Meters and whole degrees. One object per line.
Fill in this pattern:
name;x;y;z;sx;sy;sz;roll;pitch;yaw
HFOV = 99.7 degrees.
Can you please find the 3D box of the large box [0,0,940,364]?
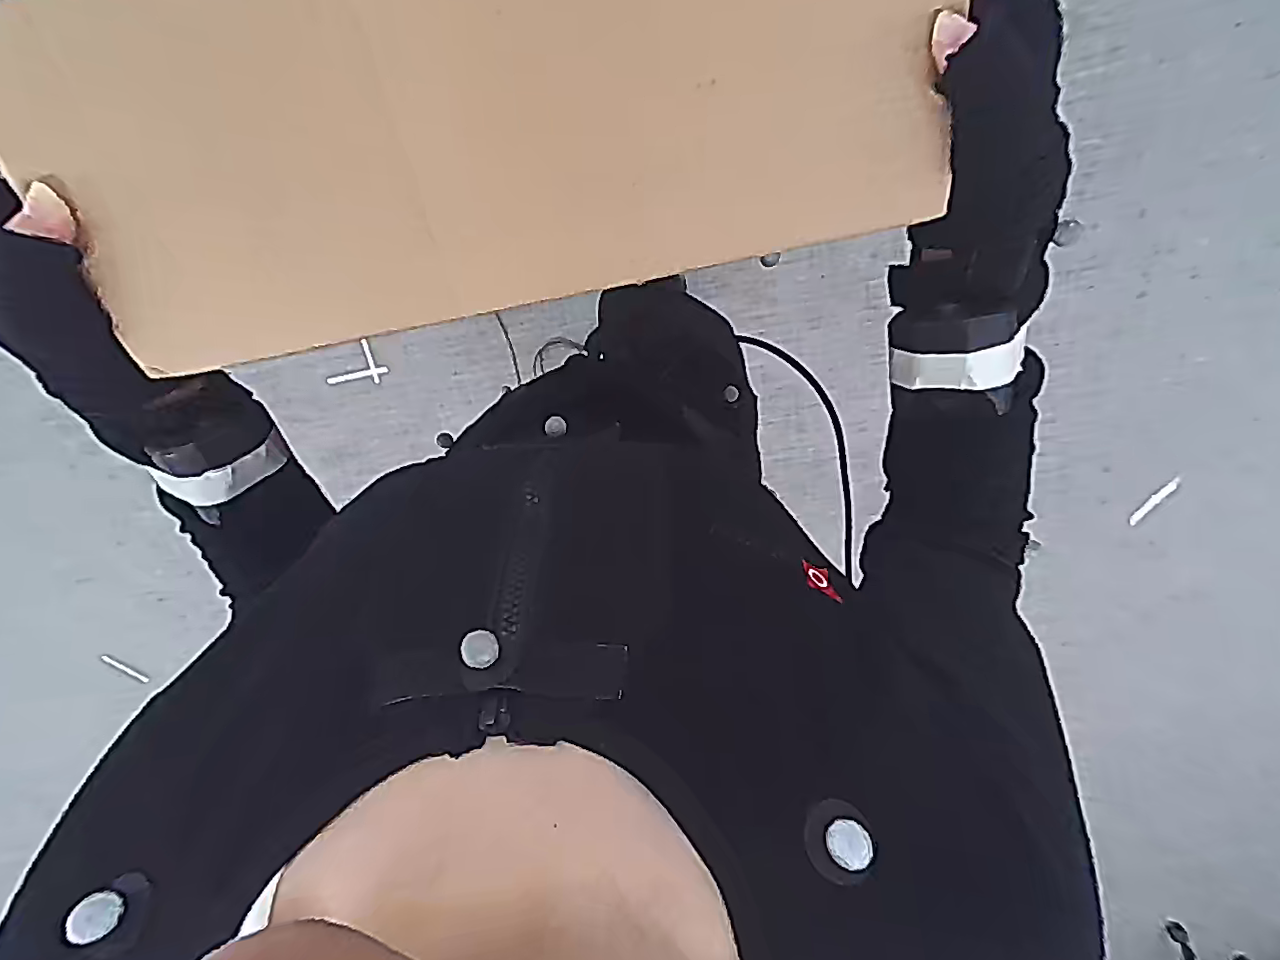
large box;-0.089;-0.305;0.326;0.408;0.320;0.320;-11;120;3
